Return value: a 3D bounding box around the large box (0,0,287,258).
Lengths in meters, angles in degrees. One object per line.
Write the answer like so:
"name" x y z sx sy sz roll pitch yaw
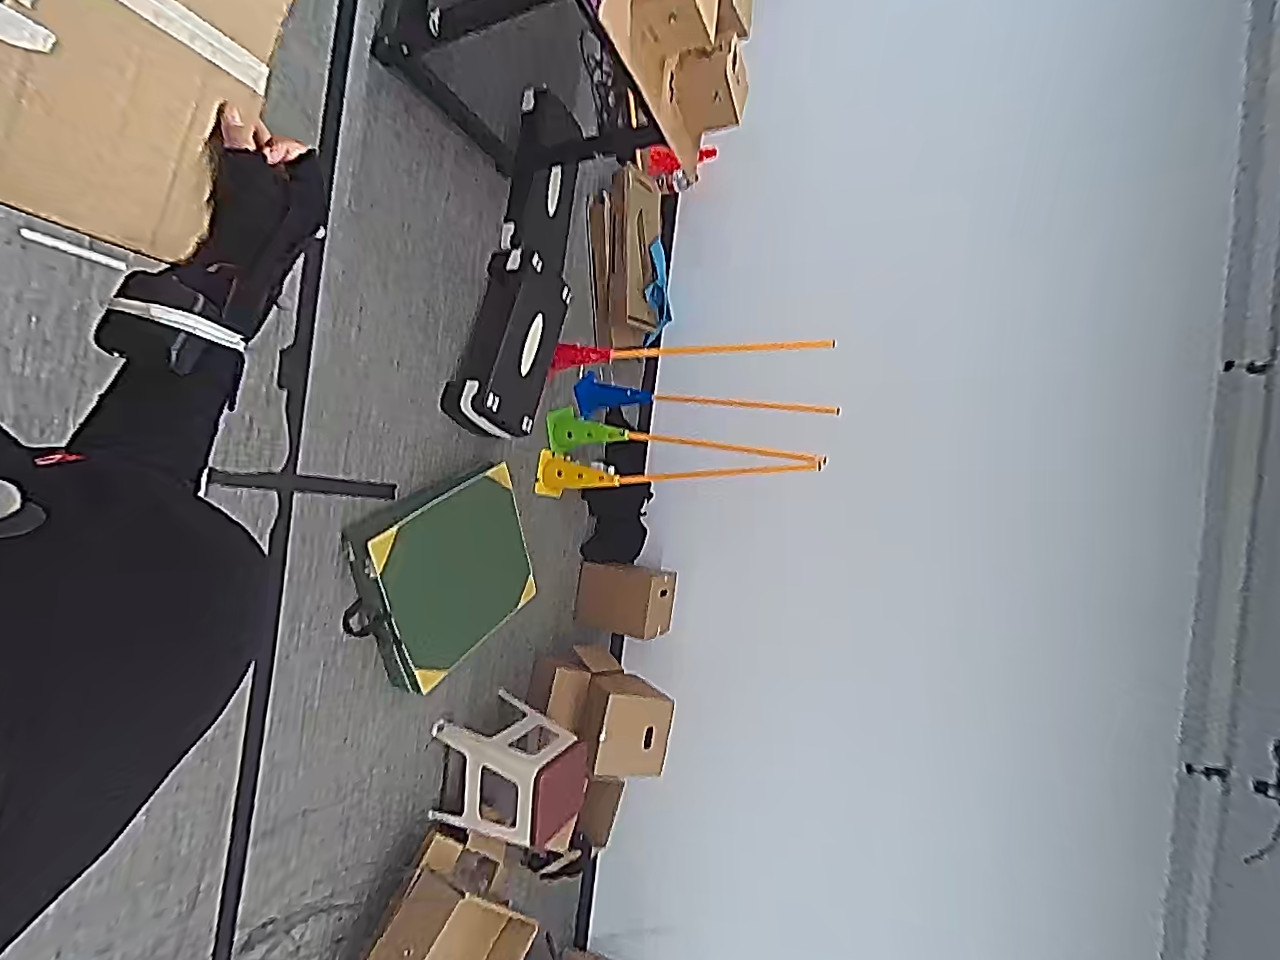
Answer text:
"large box" -0.512 -0.392 0.322 0.408 0.320 0.320 12 104 -62
